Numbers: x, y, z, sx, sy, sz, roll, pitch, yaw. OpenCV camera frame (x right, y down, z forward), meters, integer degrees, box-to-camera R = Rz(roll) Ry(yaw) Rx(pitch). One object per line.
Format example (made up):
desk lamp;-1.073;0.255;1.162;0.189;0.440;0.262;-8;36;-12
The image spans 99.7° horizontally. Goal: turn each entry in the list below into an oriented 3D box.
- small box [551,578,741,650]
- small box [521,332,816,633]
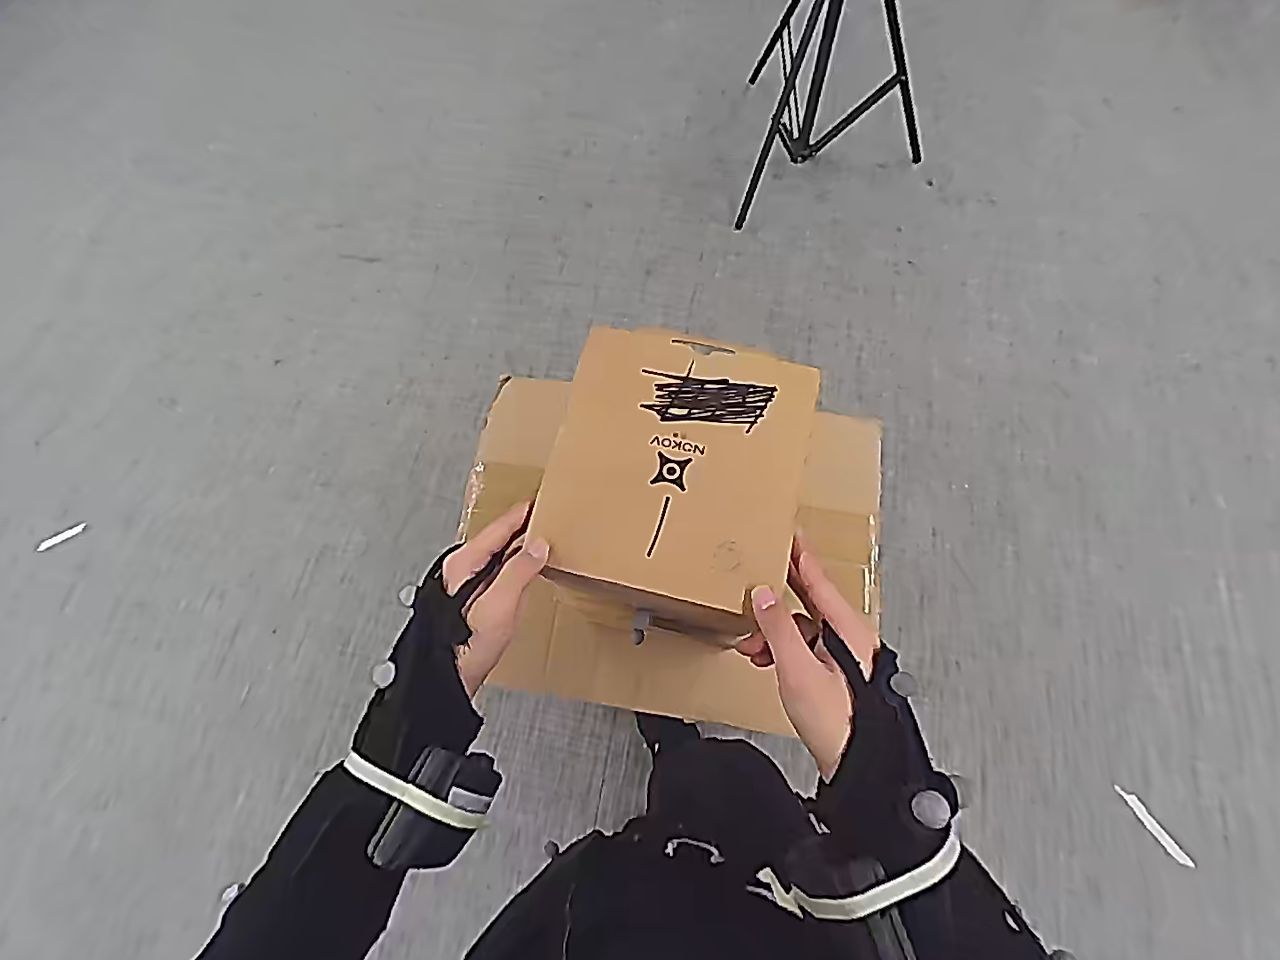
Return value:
small box;0.026;0.081;0.585;0.179;0.176;0.168;11;72;8
small box;0.026;0.014;0.432;0.168;0.176;0.179;13;74;7
